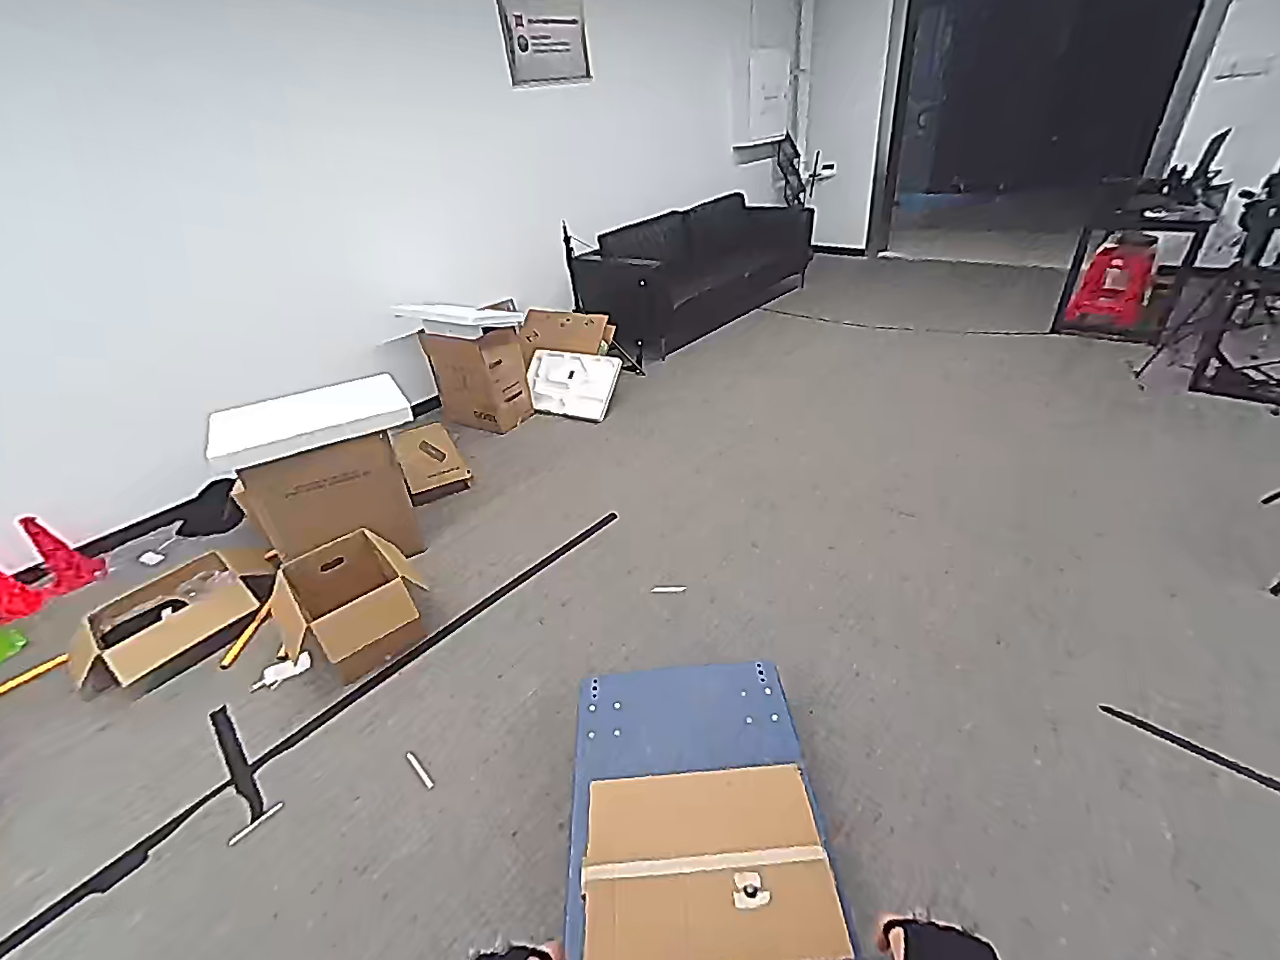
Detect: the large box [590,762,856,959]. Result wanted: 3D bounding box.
[{"bbox_3d":[0.123,0.773,0.997,0.408,0.320,0.320,-5,34,0],"label":"large box"}]
